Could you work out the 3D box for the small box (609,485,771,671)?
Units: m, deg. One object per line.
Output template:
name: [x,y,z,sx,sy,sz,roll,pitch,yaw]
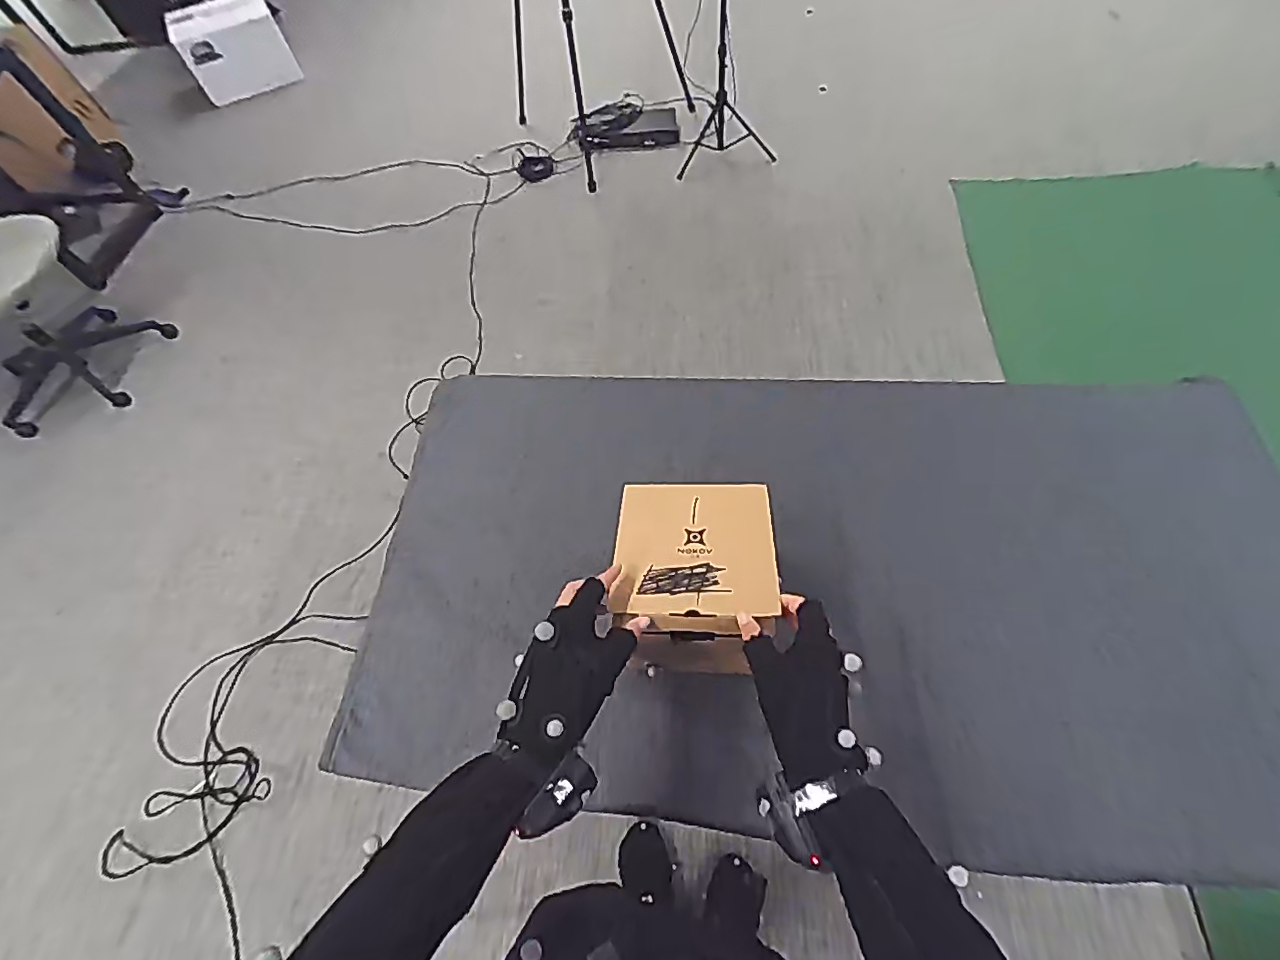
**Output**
small box: [0.064,0.122,0.647,0.168,0.176,0.179,0,58,7]
